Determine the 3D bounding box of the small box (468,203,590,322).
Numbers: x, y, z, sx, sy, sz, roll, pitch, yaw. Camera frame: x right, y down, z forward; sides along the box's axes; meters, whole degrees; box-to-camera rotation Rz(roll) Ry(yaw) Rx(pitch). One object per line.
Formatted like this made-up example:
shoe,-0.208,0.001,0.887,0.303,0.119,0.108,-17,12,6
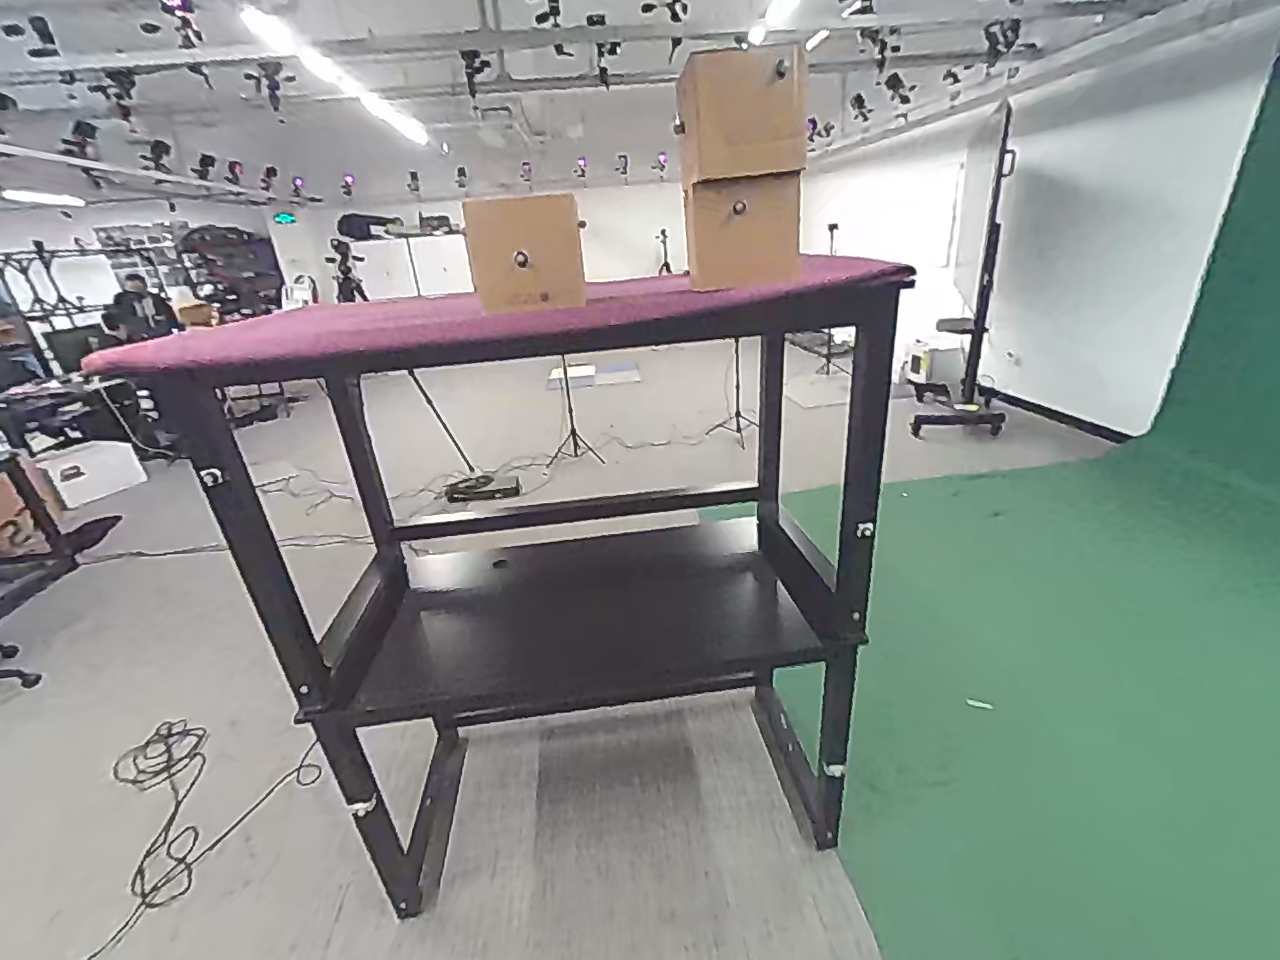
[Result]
small box,-0.175,-0.363,0.913,0.168,0.176,0.179,-5,23,-2

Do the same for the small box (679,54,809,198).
small box,0.166,-0.559,0.885,0.179,0.176,0.168,-6,22,-2

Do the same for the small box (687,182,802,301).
small box,0.182,-0.415,0.960,0.179,0.176,0.168,-5,22,2
